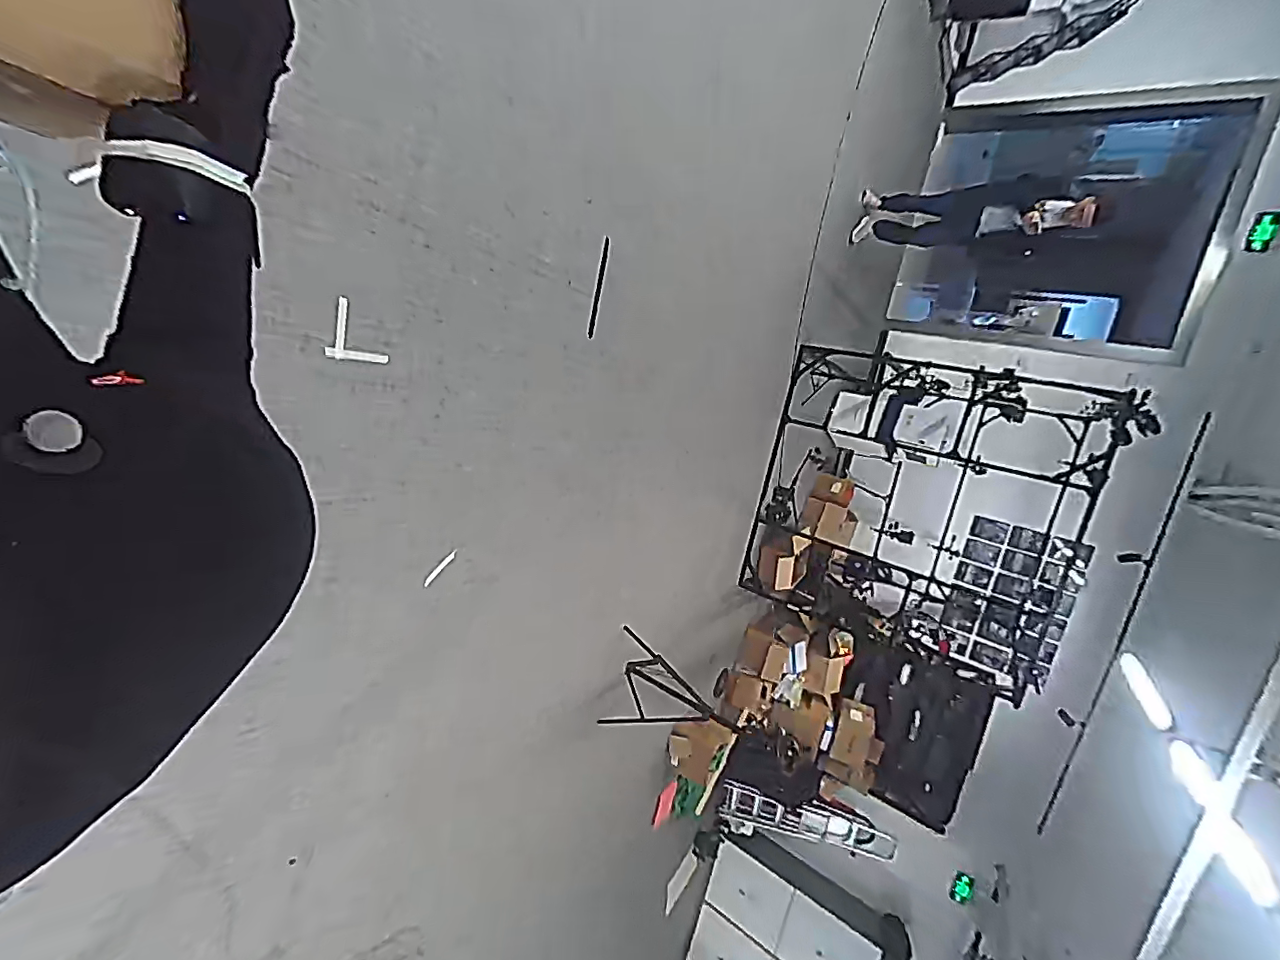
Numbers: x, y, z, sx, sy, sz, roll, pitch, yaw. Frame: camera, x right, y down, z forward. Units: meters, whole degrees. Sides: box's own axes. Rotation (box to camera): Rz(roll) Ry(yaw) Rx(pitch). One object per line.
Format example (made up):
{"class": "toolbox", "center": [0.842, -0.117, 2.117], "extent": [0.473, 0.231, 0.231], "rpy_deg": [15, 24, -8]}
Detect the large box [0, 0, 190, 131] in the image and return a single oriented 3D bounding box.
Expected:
{"class": "large box", "center": [-0.526, -0.441, 0.272], "extent": [0.408, 0.320, 0.320], "rpy_deg": [-1, 109, -60]}
